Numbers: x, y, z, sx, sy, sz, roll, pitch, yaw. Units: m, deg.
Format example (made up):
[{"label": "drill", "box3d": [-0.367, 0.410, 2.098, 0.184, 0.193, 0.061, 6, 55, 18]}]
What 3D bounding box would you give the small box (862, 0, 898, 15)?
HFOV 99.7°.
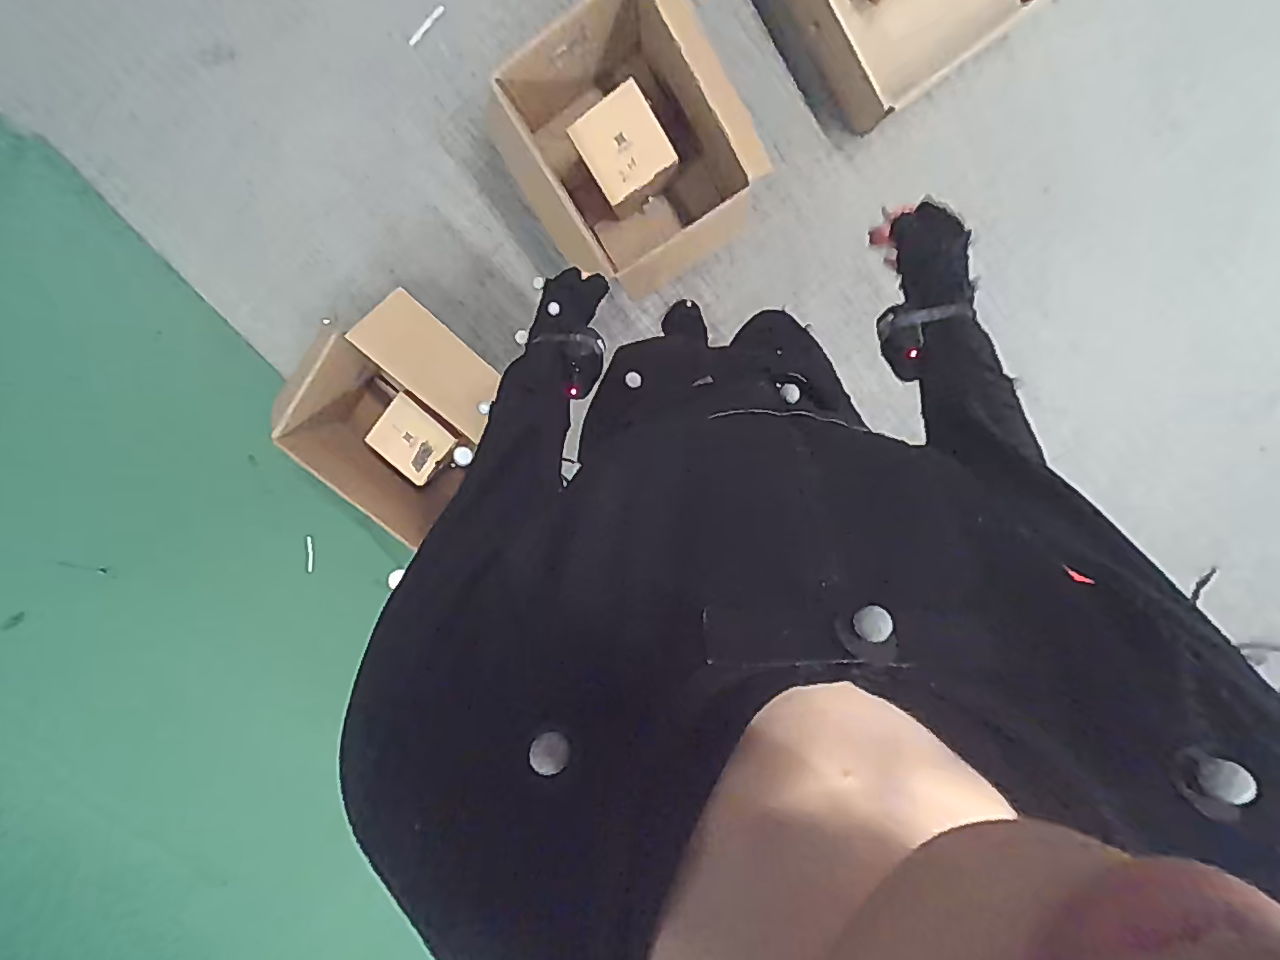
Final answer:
[{"label": "small box", "box3d": [0.499, -1.061, 1.031, 0.168, 0.176, 0.179, -38, 100, 12]}]
